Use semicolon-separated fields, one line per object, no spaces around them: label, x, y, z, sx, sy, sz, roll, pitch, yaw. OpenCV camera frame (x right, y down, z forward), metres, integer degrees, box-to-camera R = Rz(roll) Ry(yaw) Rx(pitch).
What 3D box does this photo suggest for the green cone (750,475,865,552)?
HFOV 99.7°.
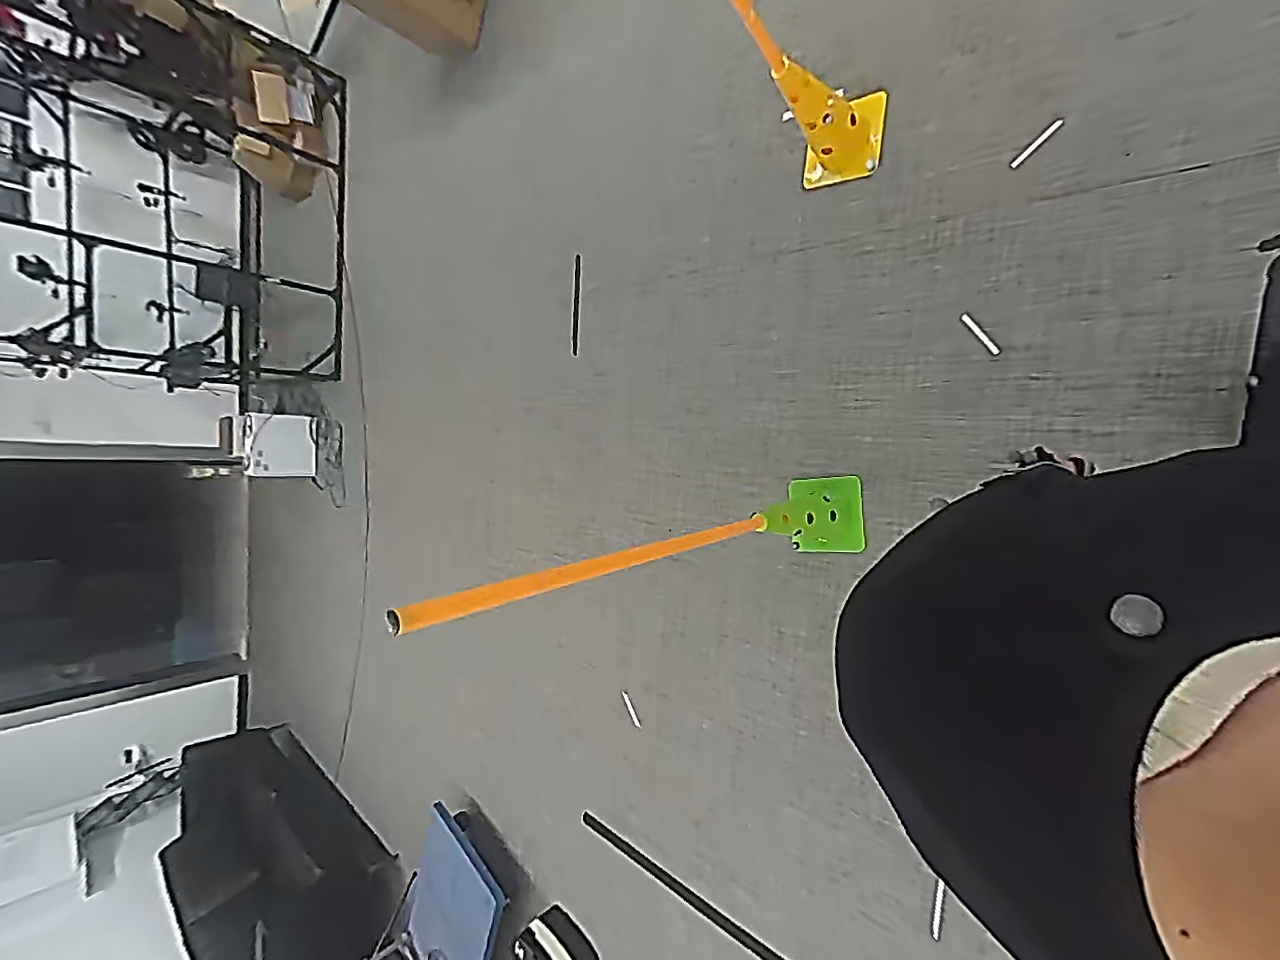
green cone;0.380;0.087;1.312;0.200;0.368;0.202;-6;85;42
